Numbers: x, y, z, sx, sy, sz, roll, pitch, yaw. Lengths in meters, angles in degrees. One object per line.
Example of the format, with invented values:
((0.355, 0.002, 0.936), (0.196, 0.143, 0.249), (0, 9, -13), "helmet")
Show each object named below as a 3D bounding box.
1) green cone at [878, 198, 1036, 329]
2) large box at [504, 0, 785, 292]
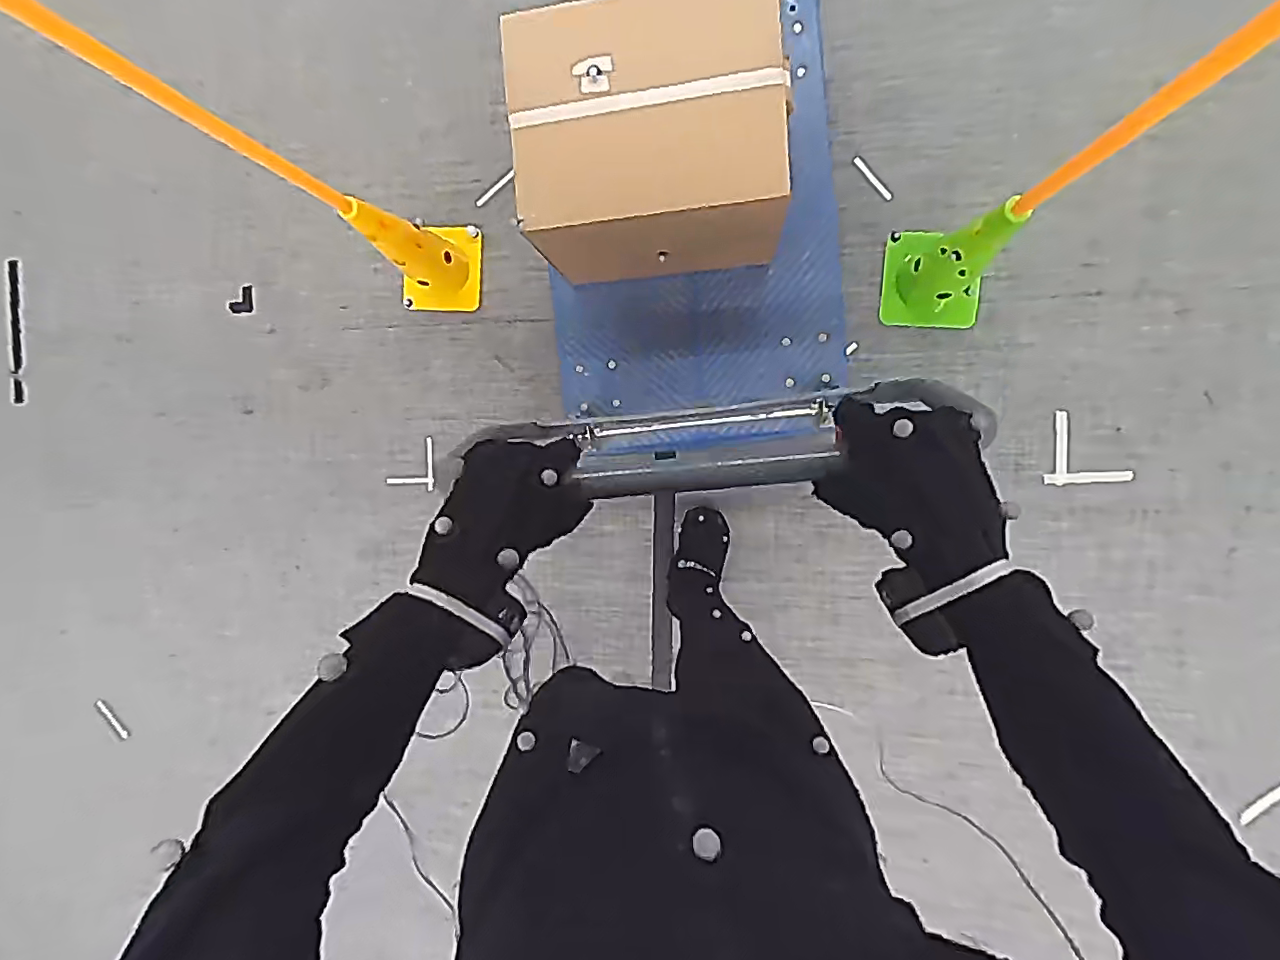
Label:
((0.607, -0.422, 1.009), (0.202, 0.368, 0.200), (4, 94, 7), "green cone")
((0.025, -0.542, 0.943), (0.408, 0.320, 0.320), (-4, 94, 9), "large box")
